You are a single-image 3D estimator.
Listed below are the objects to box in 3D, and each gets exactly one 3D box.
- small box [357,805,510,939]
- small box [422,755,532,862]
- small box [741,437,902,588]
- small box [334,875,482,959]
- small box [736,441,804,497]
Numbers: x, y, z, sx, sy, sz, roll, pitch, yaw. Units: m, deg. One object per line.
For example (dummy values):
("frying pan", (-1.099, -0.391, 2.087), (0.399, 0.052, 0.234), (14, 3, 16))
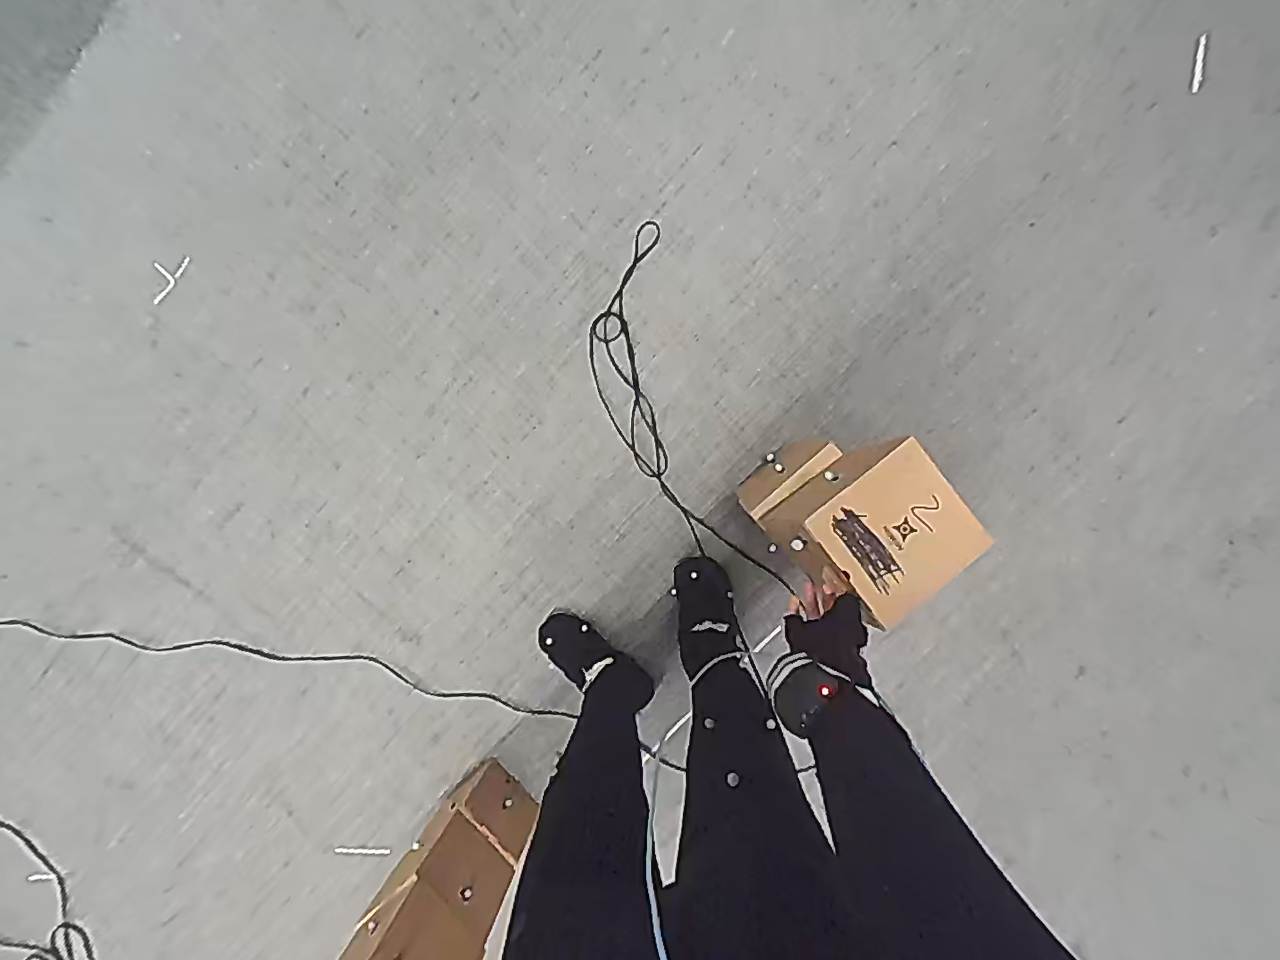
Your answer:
("small box", (-0.378, 0.774, 1.026), (0.168, 0.176, 0.179), (-43, 90, 8))
("small box", (-0.357, 0.753, 1.188), (0.179, 0.176, 0.168), (-44, 90, 7))
("small box", (0.287, 0.046, 0.904), (0.168, 0.176, 0.179), (-42, 91, 7))
("small box", (-0.387, 0.796, 0.865), (0.168, 0.176, 0.179), (-43, 90, 8))
("small box", (0.305, 0.035, 1.050), (0.168, 0.176, 0.179), (-40, 91, 7))
